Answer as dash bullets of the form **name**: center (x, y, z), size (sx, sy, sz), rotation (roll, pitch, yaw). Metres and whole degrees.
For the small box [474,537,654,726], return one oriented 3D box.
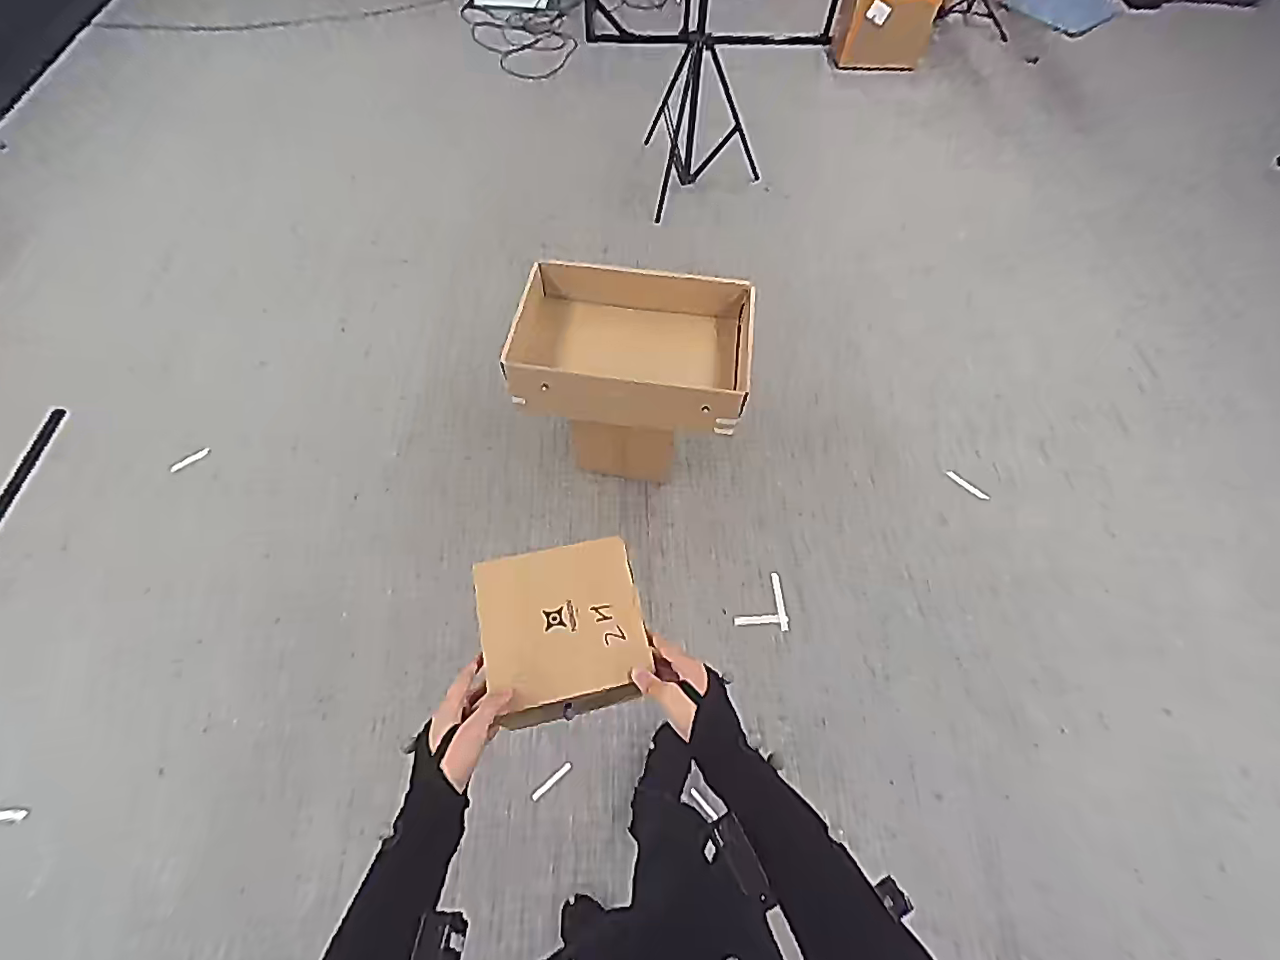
- **small box**: center (-0.093, 0.189, 0.658), size (0.179, 0.176, 0.168), rotation (-9, 62, -12)
